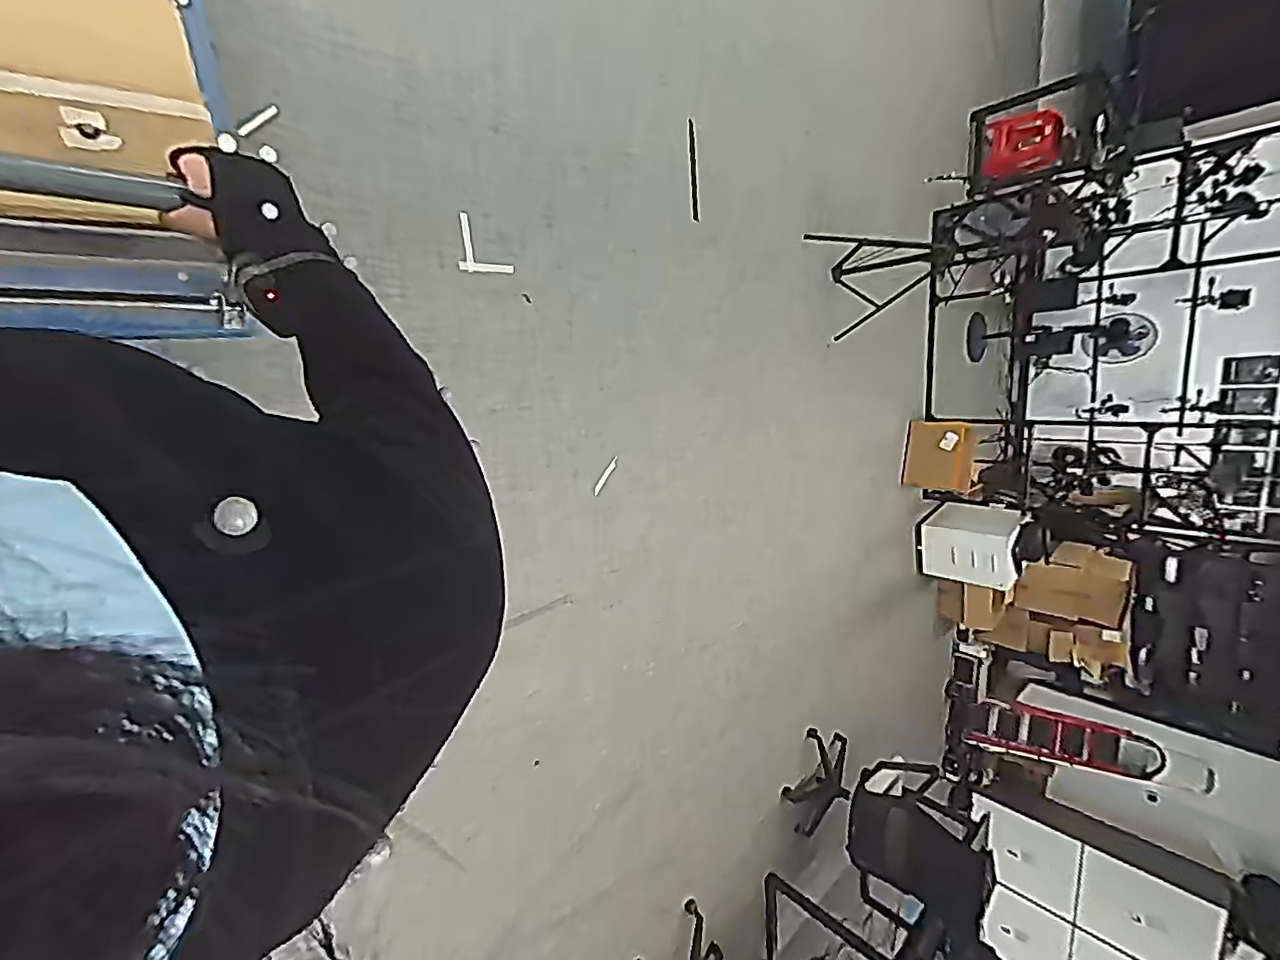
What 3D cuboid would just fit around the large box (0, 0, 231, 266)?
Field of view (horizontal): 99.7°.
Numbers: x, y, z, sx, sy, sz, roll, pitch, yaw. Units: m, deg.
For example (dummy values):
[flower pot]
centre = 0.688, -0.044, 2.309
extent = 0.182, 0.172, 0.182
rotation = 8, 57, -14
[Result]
[large box]
centre = -0.886, -0.497, 0.769
extent = 0.408, 0.320, 0.320
rotation = -18, 108, -41
